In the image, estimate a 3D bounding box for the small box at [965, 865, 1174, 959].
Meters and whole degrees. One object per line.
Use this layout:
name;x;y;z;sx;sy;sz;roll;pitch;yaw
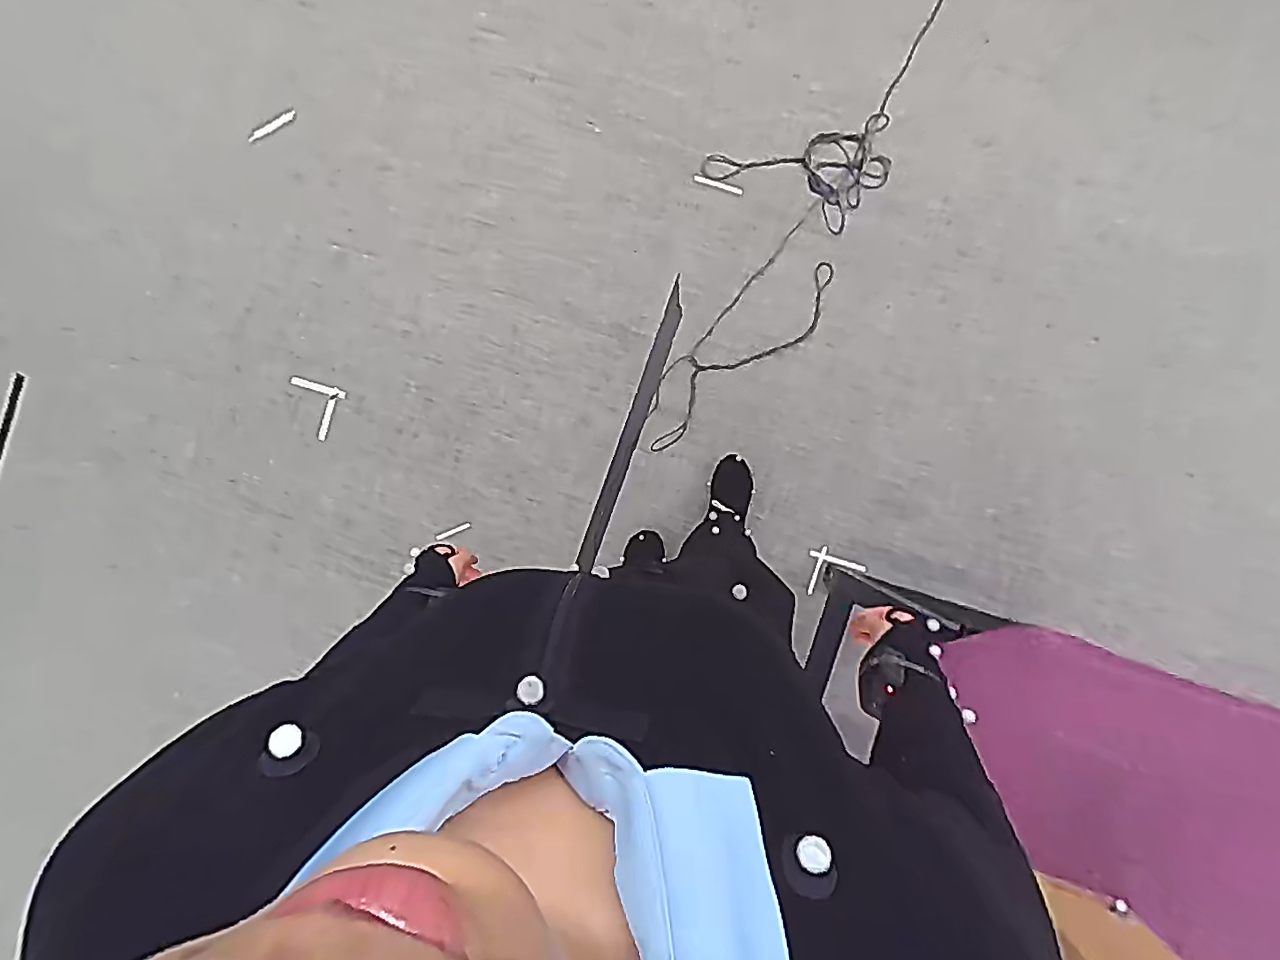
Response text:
small box;0.525;0.613;0.641;0.168;0.176;0.179;19;92;5
